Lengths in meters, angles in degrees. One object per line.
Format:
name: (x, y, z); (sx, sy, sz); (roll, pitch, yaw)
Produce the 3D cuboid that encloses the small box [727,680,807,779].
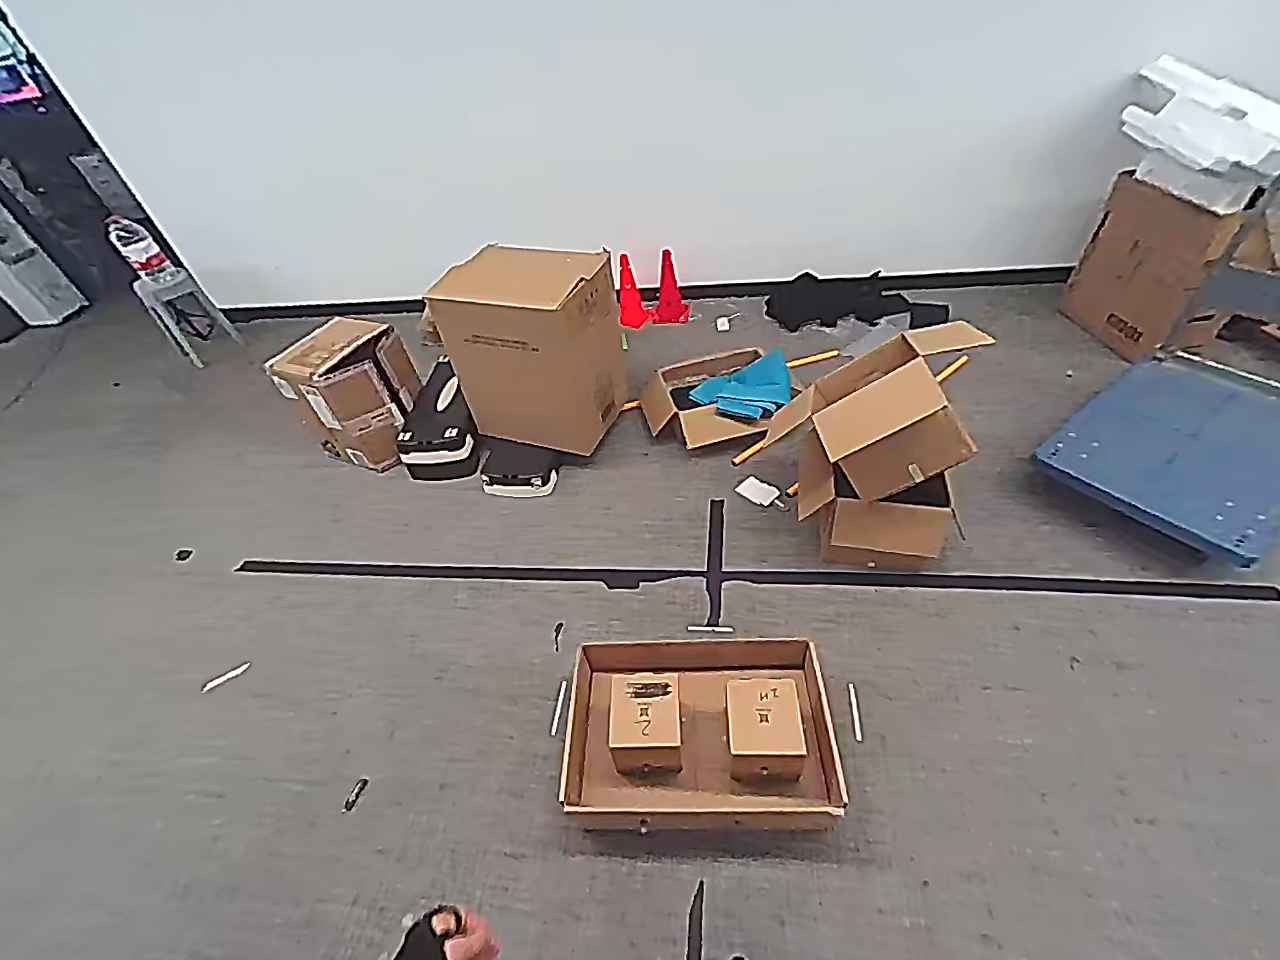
small box: (0.297, 0.599, 1.293); (0.168, 0.176, 0.179); (-2, 44, 6)
